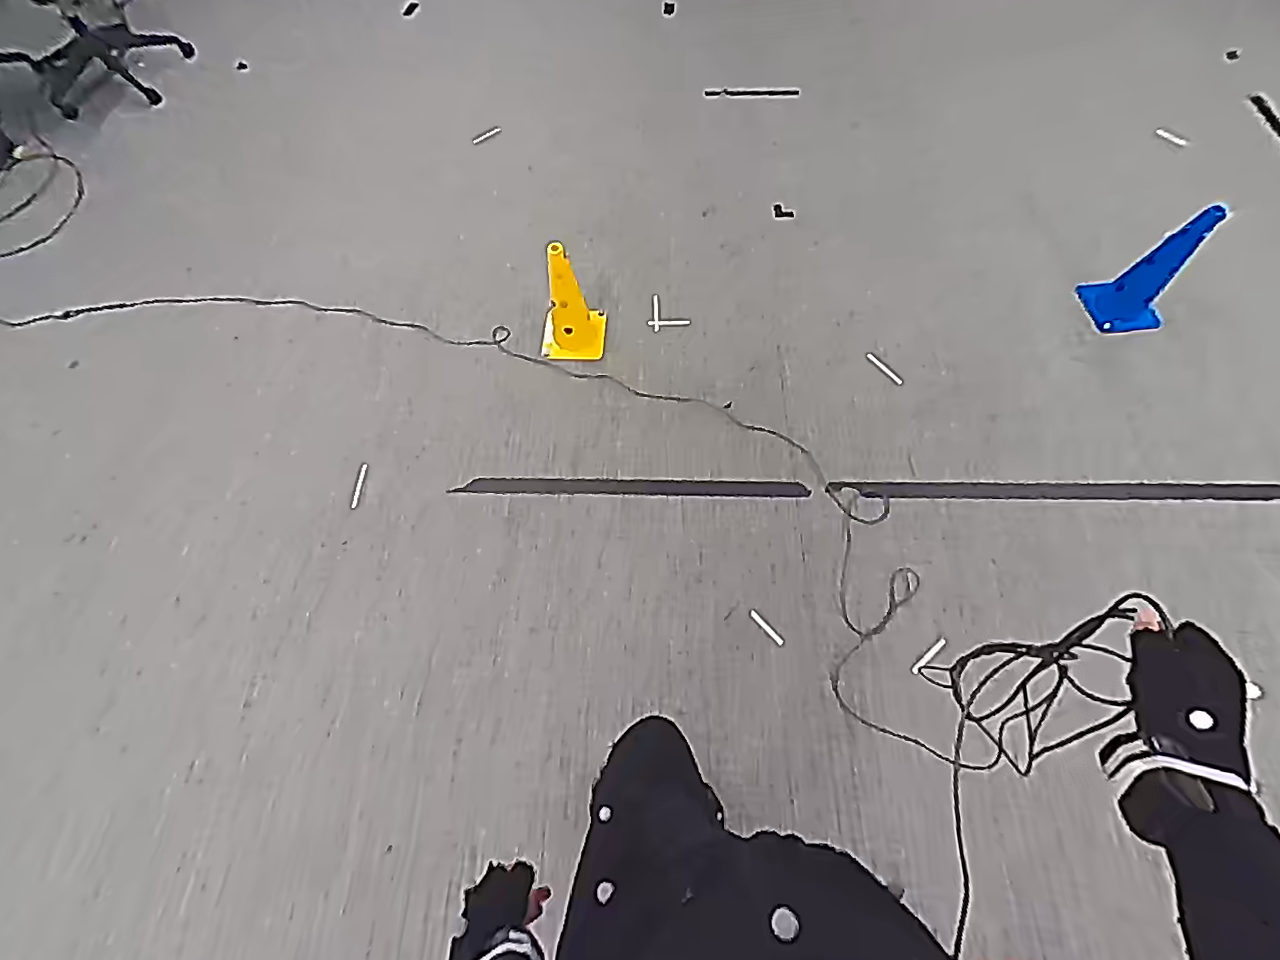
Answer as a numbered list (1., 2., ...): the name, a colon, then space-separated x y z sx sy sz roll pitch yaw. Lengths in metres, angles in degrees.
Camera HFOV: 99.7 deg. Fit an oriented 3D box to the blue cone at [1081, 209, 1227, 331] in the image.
1. blue cone: 1.534 -0.630 1.591 0.193 0.380 0.192 -5 65 0
